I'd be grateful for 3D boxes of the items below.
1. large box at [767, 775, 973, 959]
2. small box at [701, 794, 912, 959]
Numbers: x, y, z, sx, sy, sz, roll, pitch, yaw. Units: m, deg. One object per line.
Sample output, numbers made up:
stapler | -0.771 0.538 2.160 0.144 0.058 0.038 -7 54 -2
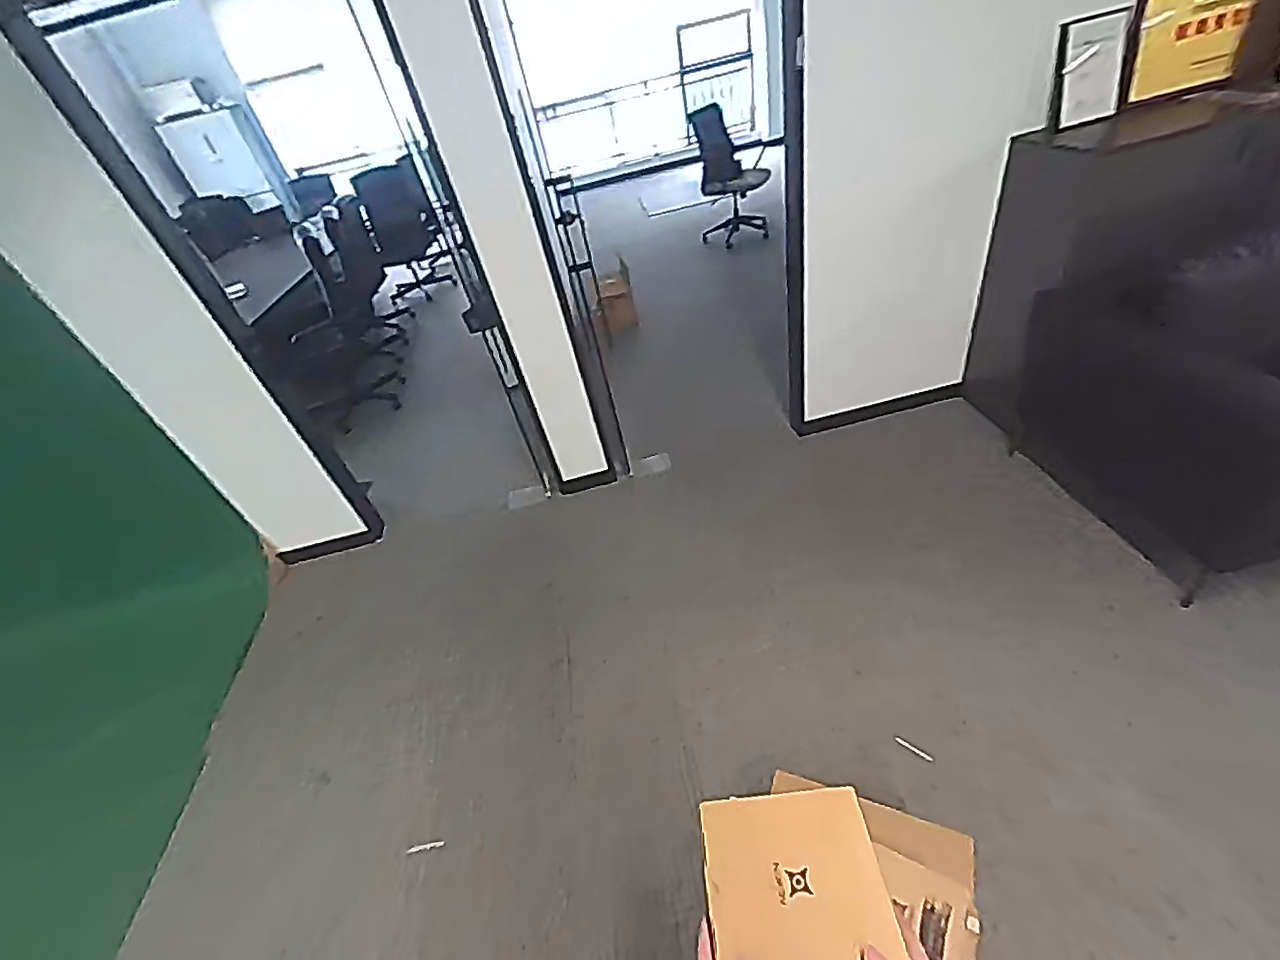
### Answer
large box | 0.462 0.912 1.167 0.408 0.320 0.320 7 43 25
small box | 0.166 0.464 0.578 0.179 0.176 0.168 -9 37 4
